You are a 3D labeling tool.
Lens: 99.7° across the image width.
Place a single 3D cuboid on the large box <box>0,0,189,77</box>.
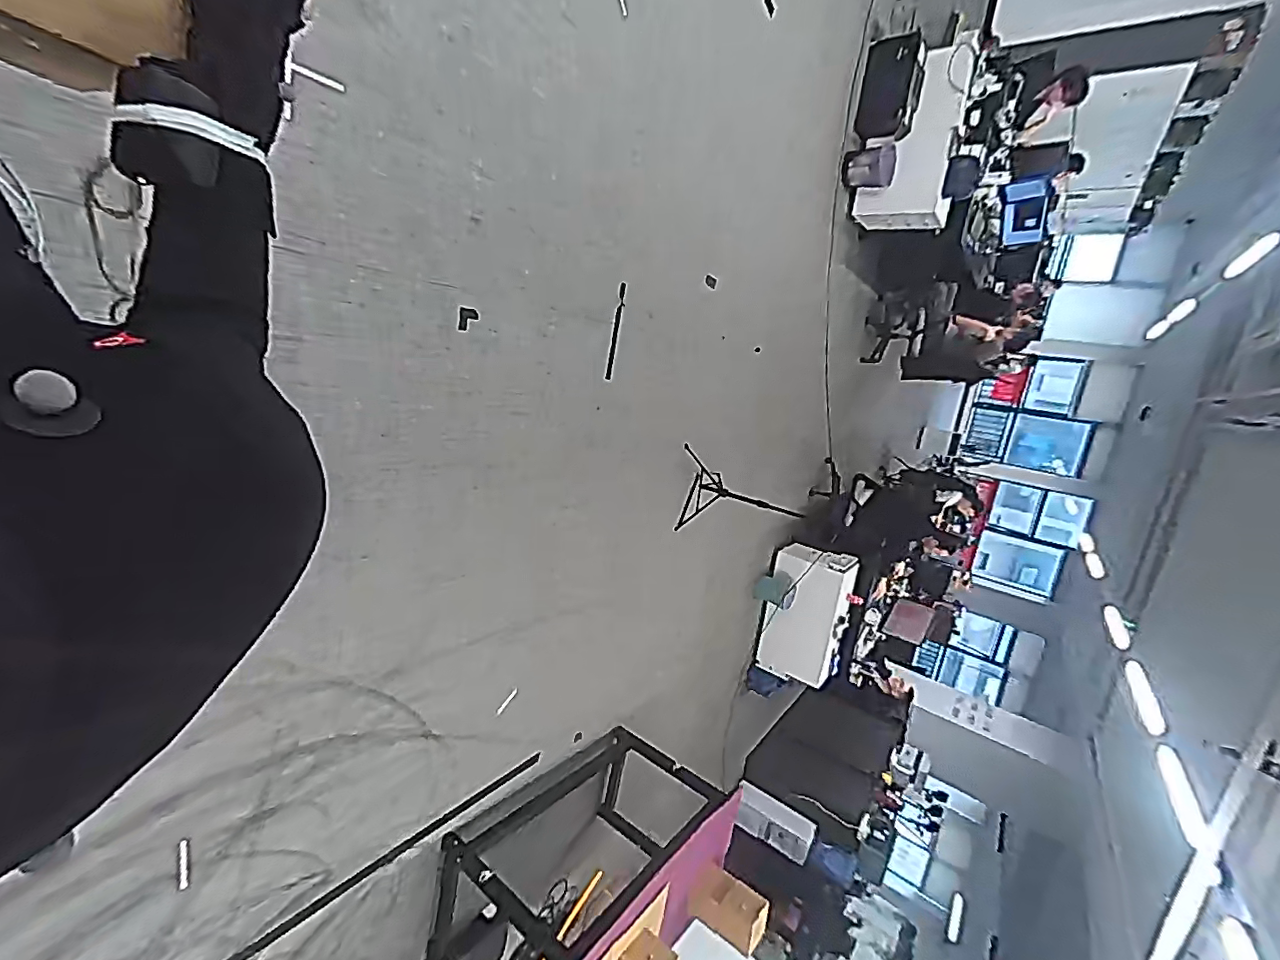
[{"bbox_3d":[-0.511,-0.478,0.264,0.408,0.320,0.320,-1,114,-57],"label":"large box"}]
